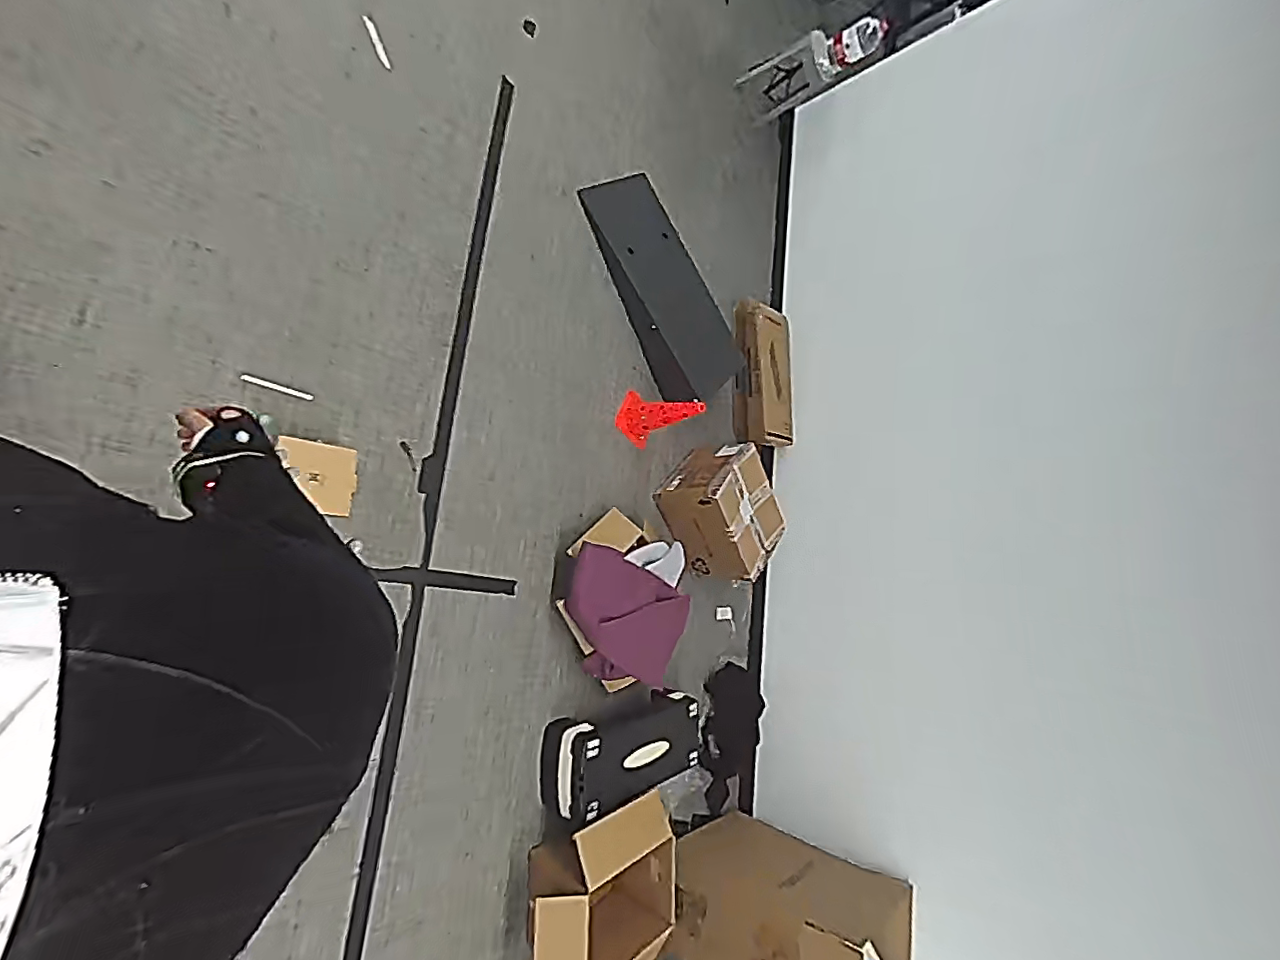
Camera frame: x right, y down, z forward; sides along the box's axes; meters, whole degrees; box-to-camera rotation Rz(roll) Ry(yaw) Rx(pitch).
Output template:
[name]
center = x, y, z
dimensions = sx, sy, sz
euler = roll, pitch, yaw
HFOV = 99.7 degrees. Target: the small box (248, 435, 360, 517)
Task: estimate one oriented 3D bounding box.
[small box]
center = -0.808, -0.002, 1.302
dimensions = 0.179, 0.176, 0.168
euler = 13, 76, -46
